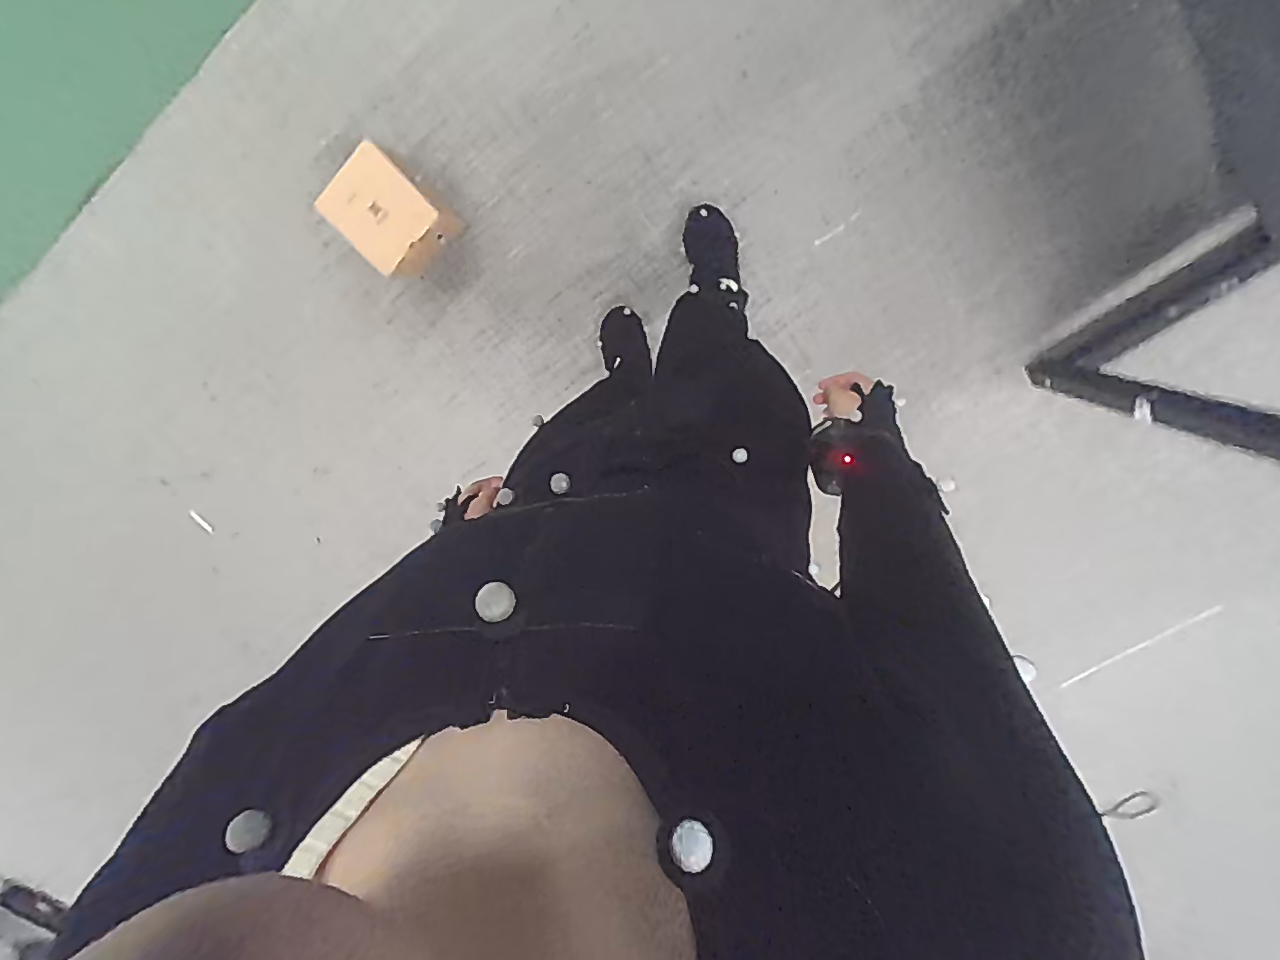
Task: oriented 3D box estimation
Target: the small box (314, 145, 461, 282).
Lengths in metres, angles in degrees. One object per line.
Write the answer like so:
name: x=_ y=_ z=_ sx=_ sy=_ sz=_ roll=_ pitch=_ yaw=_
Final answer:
small box: x=-0.492 y=-0.524 z=1.084 sx=0.168 sy=0.176 sz=0.179 roll=-41 pitch=105 yaw=13
